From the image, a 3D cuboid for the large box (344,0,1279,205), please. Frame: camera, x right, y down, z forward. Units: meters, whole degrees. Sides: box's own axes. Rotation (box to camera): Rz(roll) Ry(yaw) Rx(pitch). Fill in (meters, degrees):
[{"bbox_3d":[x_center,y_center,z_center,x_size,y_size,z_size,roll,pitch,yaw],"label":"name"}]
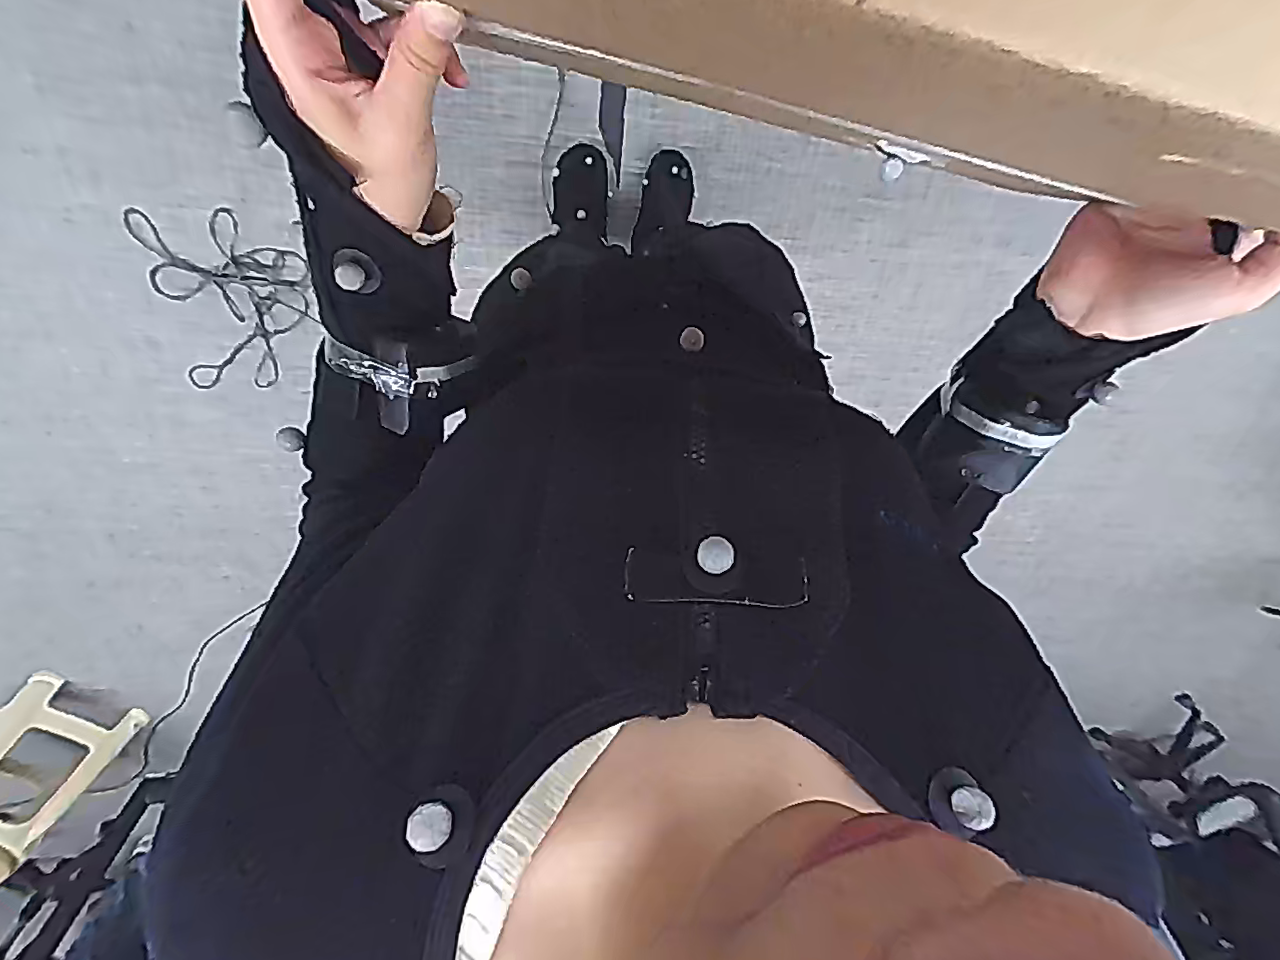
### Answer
[{"bbox_3d":[0.095,-0.293,0.150,0.408,0.320,0.320,7,124,-8],"label":"large box"}]
